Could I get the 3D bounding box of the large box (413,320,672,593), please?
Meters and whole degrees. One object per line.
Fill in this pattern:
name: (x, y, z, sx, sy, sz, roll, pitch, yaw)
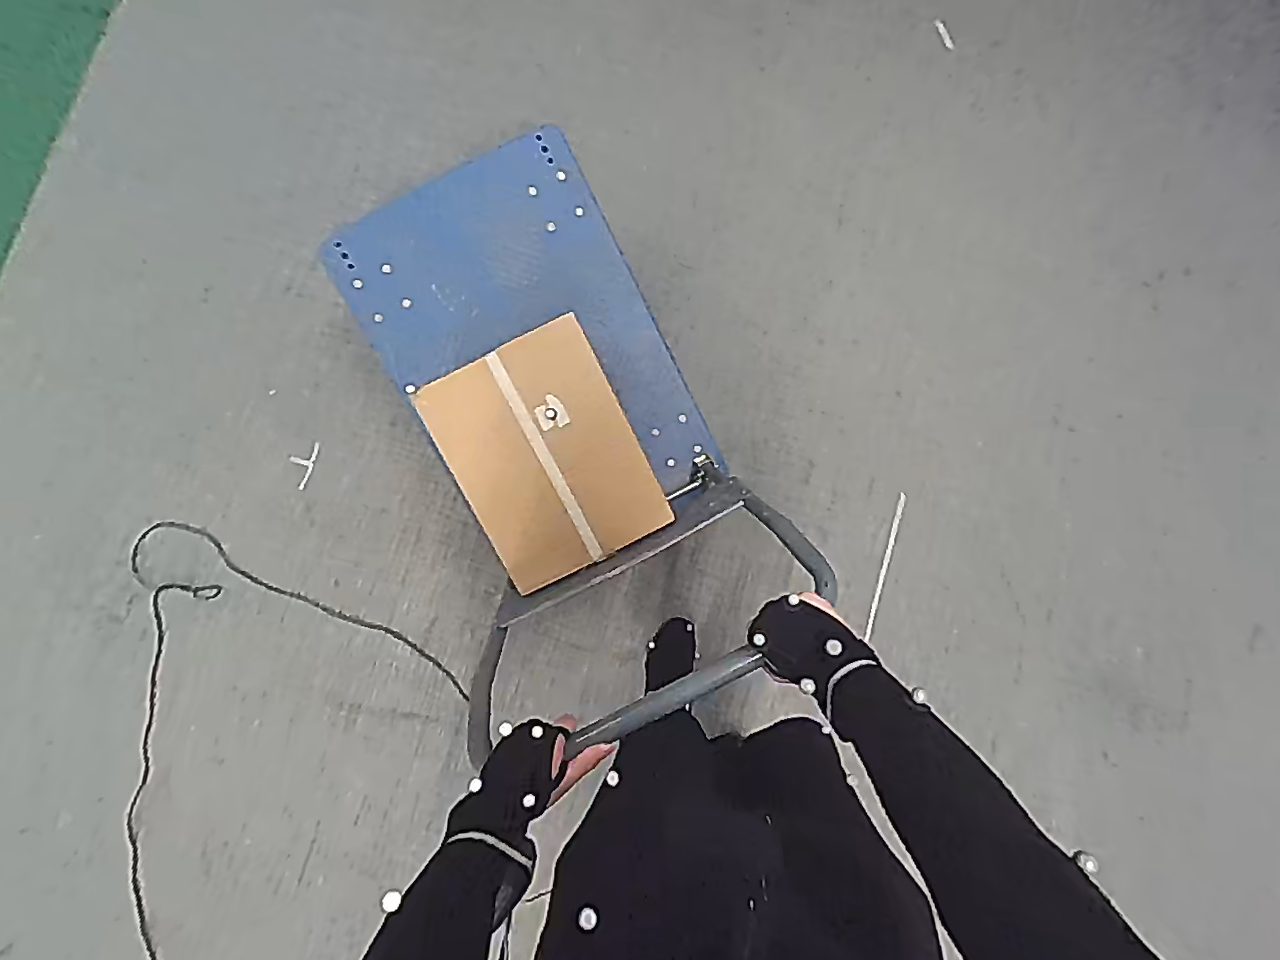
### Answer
large box: (-0.170, -0.052, 1.096, 0.320, 0.320, 0.408, -27, 98, 0)
